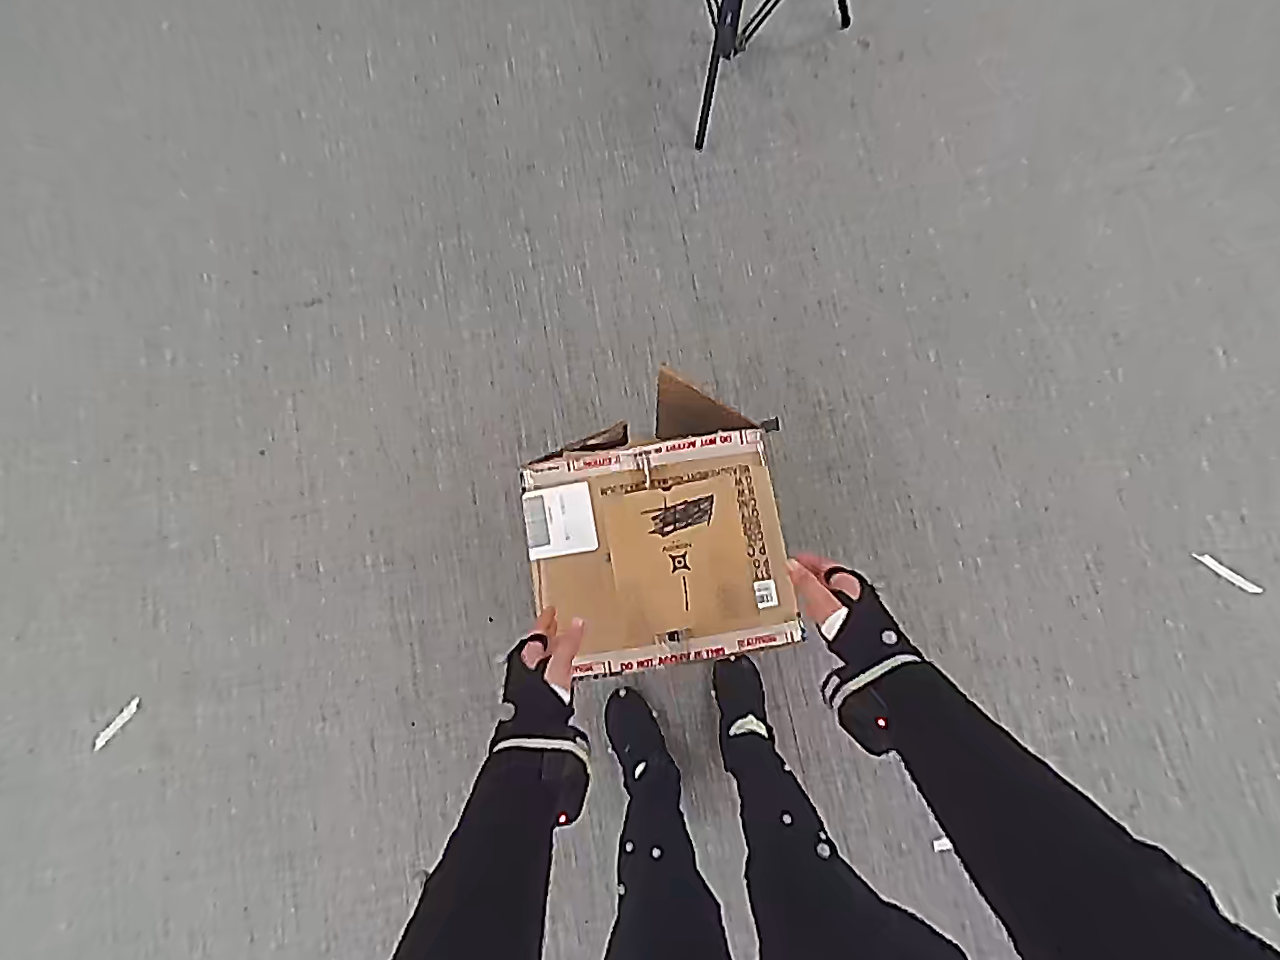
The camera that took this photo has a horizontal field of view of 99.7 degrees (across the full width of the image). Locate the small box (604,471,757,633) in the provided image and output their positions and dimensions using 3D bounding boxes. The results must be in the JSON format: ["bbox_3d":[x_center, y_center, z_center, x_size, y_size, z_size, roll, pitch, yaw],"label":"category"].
[{"bbox_3d":[0.047,0.096,0.736,0.168,0.176,0.179,-10,84,-1],"label":"small box"}]
